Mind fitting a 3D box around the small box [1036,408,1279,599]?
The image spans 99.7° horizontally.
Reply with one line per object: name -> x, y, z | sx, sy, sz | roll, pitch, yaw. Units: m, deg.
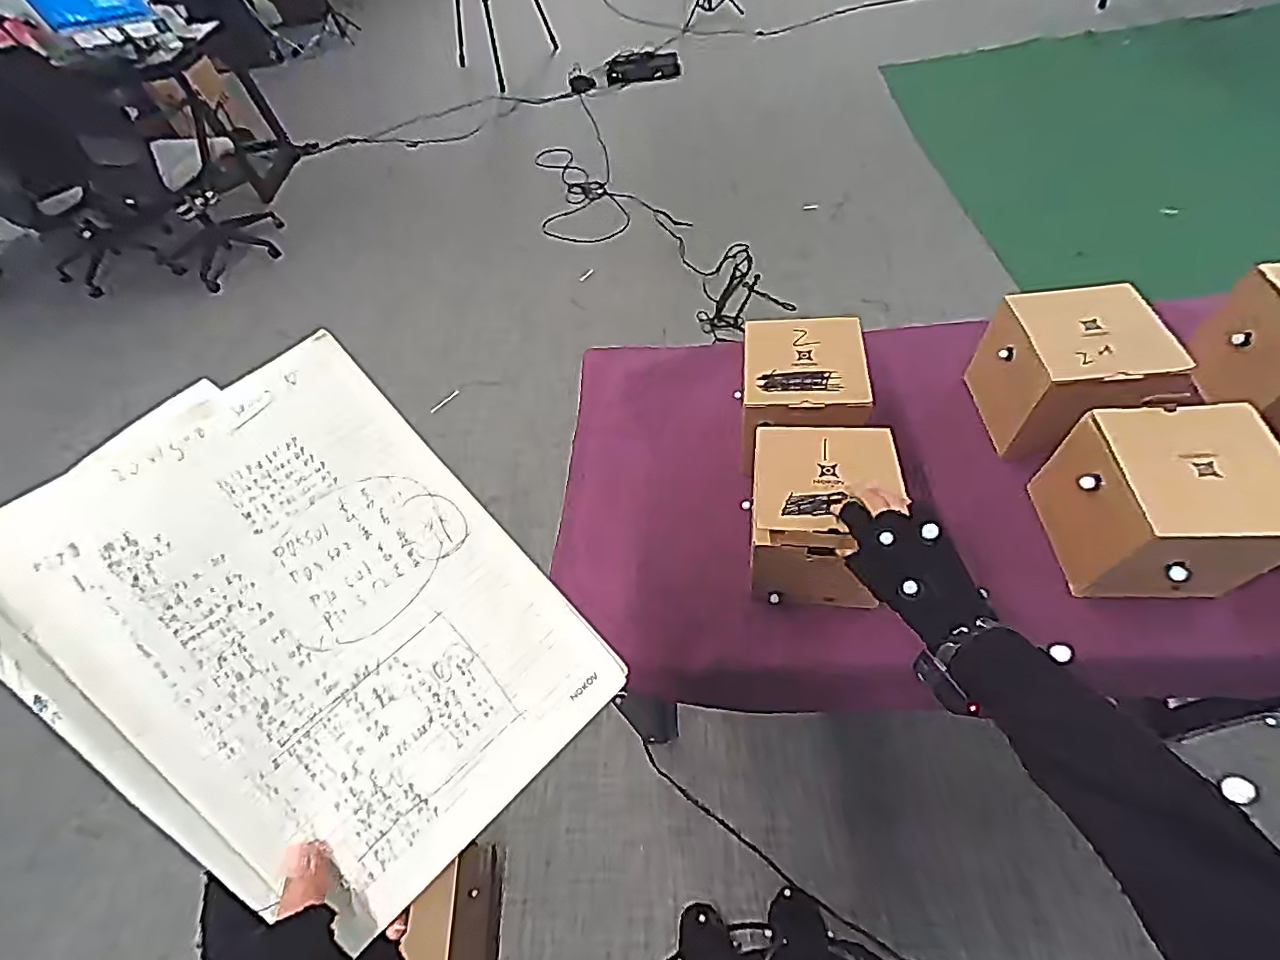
small box -> 0.627, 0.035, 0.653 | 0.168, 0.176, 0.179 | -1, 56, 9

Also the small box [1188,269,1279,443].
small box -> 0.923, -0.168, 0.741 | 0.168, 0.176, 0.179 | 1, 56, 10

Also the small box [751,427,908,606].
small box -> 0.233, 0.051, 0.705 | 0.168, 0.176, 0.179 | 3, 56, 11

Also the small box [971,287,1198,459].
small box -> 0.612, -0.150, 0.779 | 0.168, 0.176, 0.179 | -3, 56, 8
